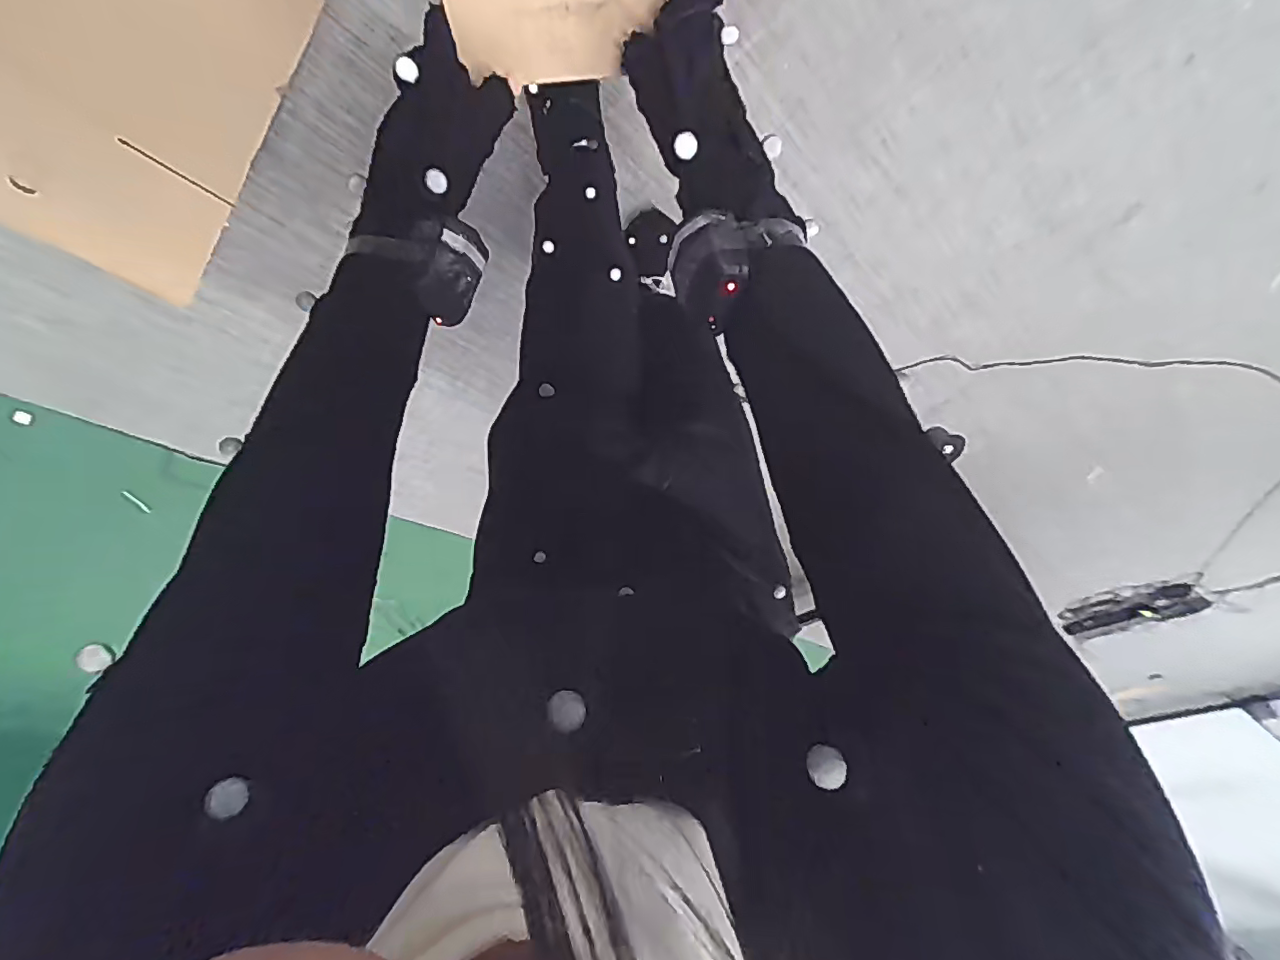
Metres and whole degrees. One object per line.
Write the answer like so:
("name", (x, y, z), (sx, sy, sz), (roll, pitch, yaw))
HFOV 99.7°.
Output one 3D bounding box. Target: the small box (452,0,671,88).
("small box", (-0.067, -0.444, 0.427), (0.168, 0.176, 0.179), (-6, 141, 1))
